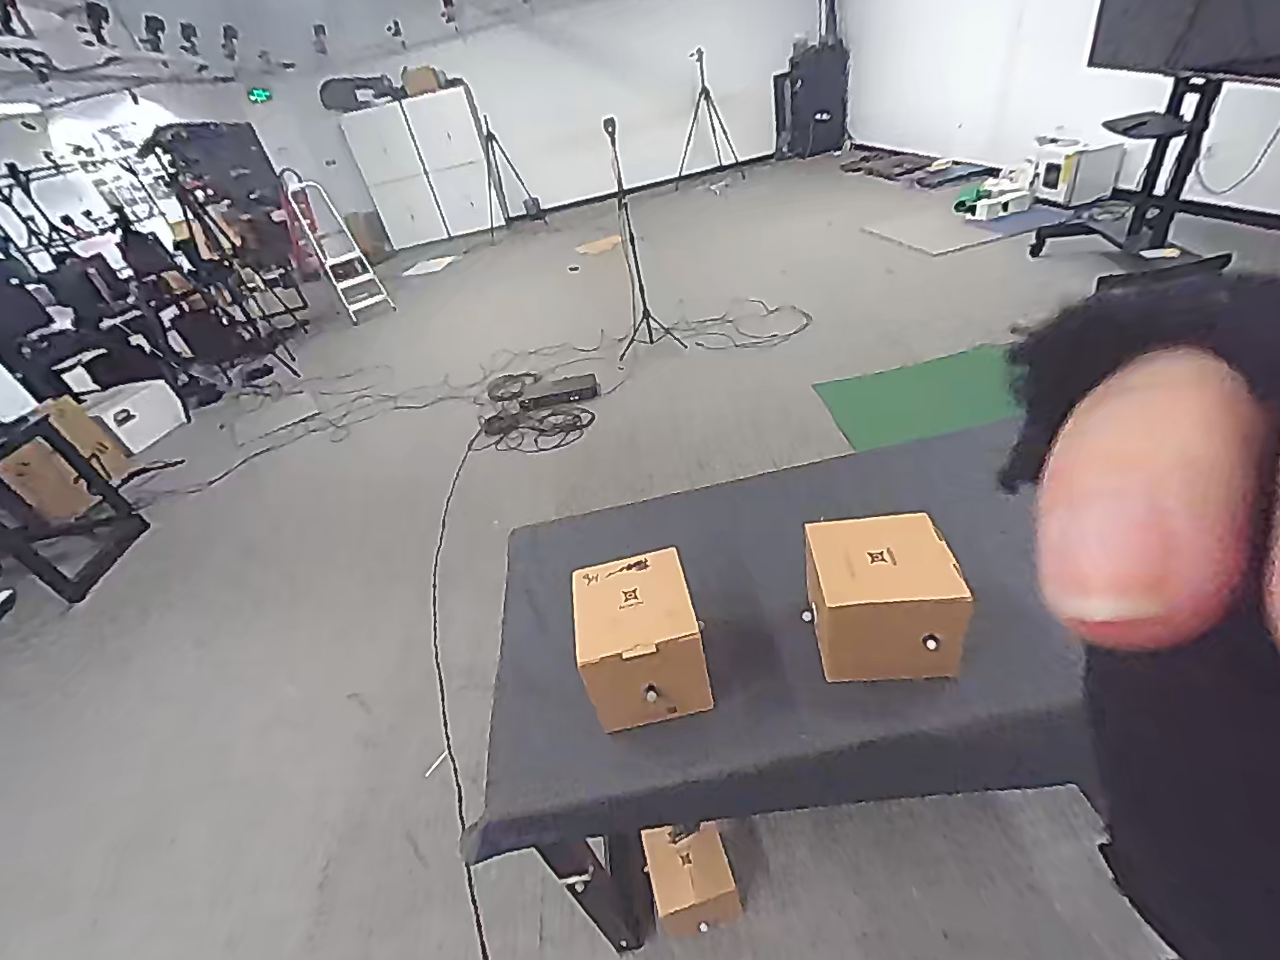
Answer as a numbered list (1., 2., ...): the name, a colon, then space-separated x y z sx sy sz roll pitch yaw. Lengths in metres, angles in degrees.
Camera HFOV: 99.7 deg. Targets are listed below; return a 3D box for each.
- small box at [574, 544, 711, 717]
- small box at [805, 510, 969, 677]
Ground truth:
1. small box: 0.003 0.229 0.810 0.168 0.176 0.179 -13 35 -1
2. small box: 0.344 0.167 0.791 0.179 0.176 0.168 -8 35 10
